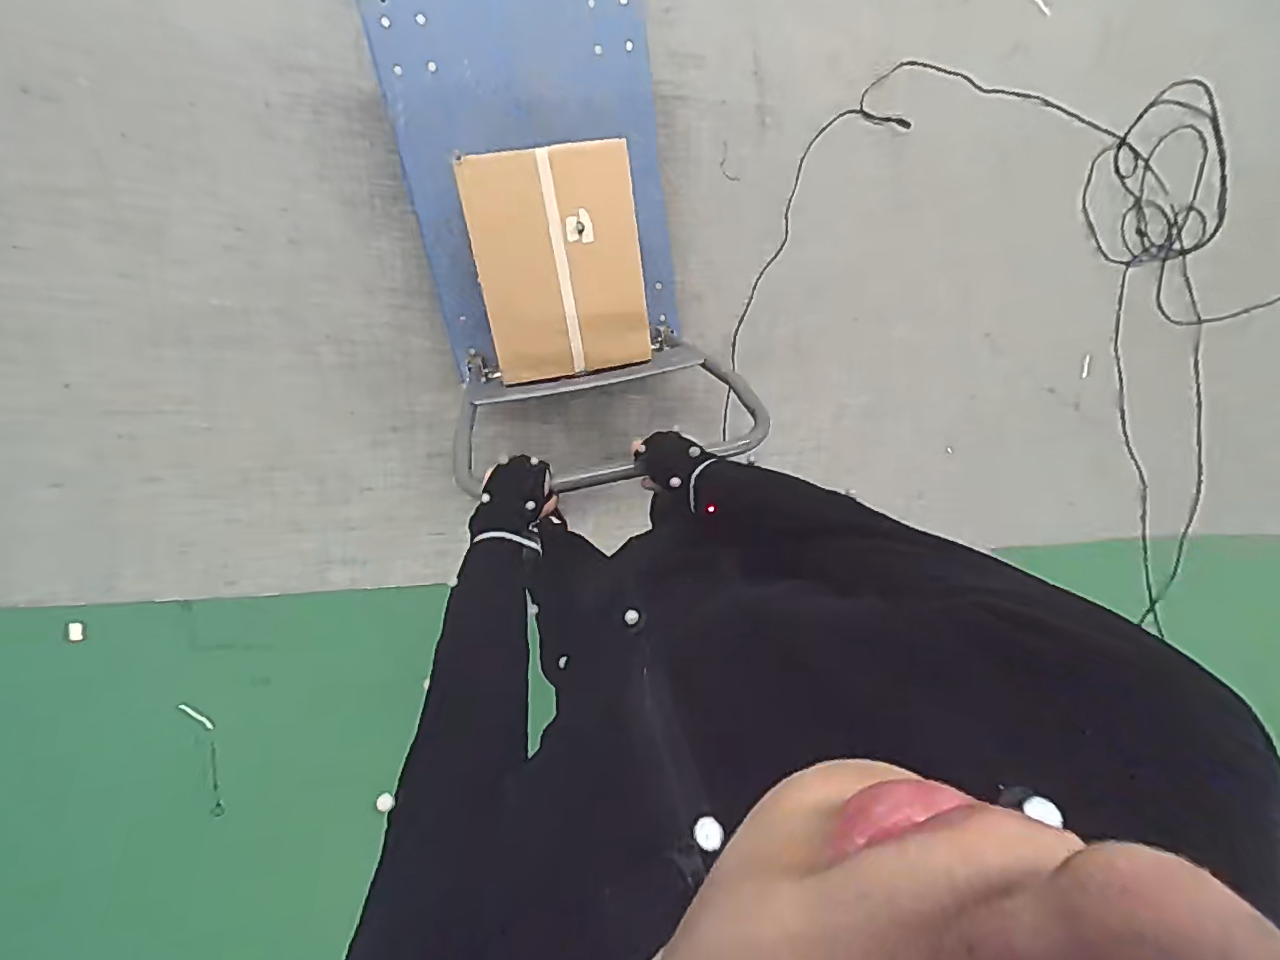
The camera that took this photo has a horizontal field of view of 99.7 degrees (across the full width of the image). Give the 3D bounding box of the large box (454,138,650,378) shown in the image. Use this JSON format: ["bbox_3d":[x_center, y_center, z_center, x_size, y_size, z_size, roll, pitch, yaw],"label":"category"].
[{"bbox_3d":[-0.181,-0.466,1.183,0.320,0.320,0.408,-11,111,-8],"label":"large box"}]
